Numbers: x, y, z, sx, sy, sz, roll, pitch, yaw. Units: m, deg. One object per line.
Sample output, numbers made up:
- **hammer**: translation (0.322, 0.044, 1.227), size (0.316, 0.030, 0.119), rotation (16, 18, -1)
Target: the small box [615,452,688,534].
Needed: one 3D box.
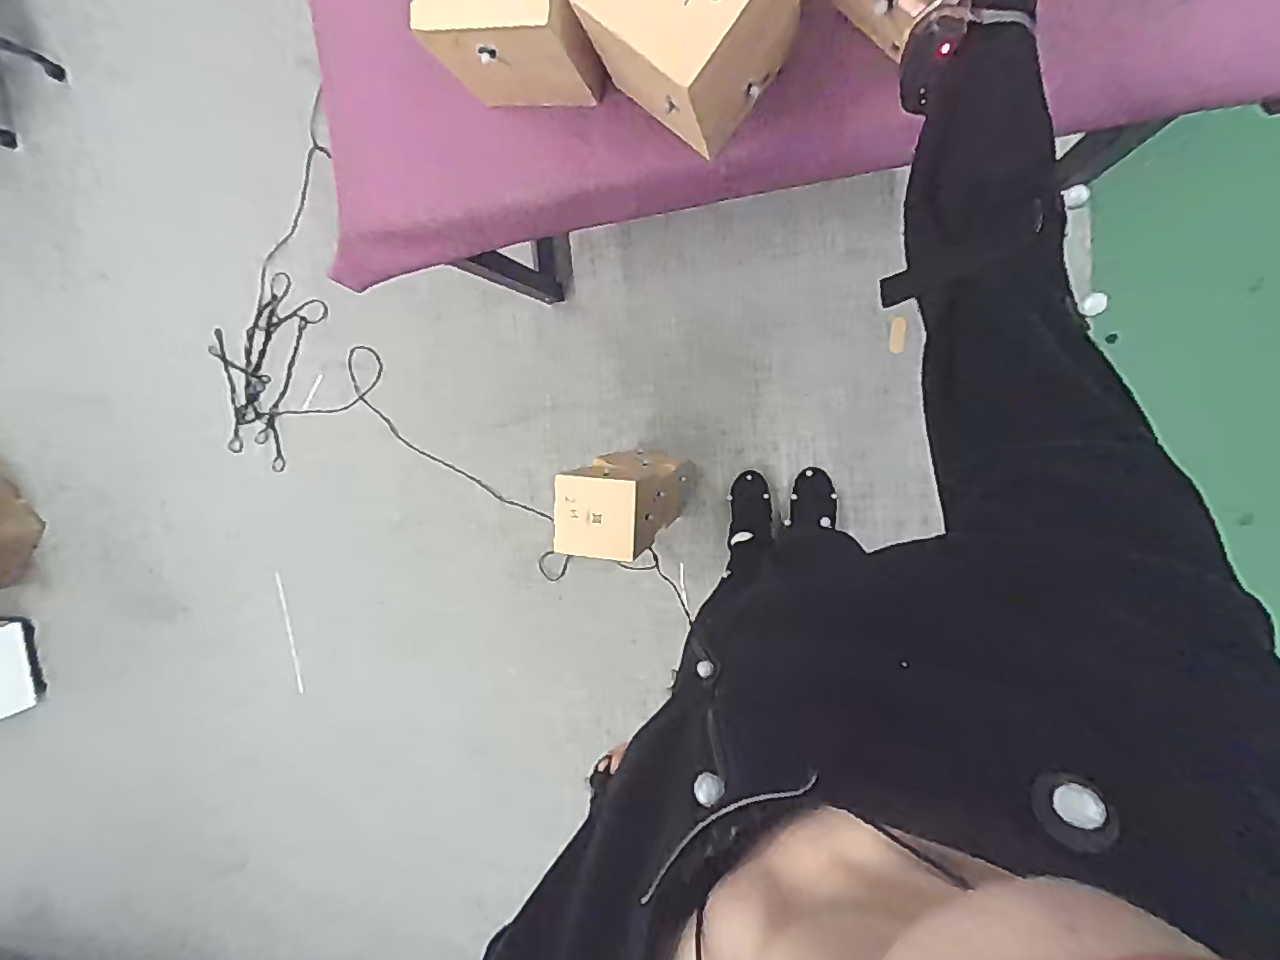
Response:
- **small box**: translation (0.026, 0.027, 1.462), size (0.168, 0.176, 0.179), rotation (12, 101, 15)

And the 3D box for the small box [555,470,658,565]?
- **small box**: translation (-0.065, 0.071, 1.151), size (0.179, 0.176, 0.168), rotation (5, 98, 17)

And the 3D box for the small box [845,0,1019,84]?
- **small box**: translation (0.317, -0.554, 0.535), size (0.179, 0.176, 0.168), rotation (-44, 84, 17)
